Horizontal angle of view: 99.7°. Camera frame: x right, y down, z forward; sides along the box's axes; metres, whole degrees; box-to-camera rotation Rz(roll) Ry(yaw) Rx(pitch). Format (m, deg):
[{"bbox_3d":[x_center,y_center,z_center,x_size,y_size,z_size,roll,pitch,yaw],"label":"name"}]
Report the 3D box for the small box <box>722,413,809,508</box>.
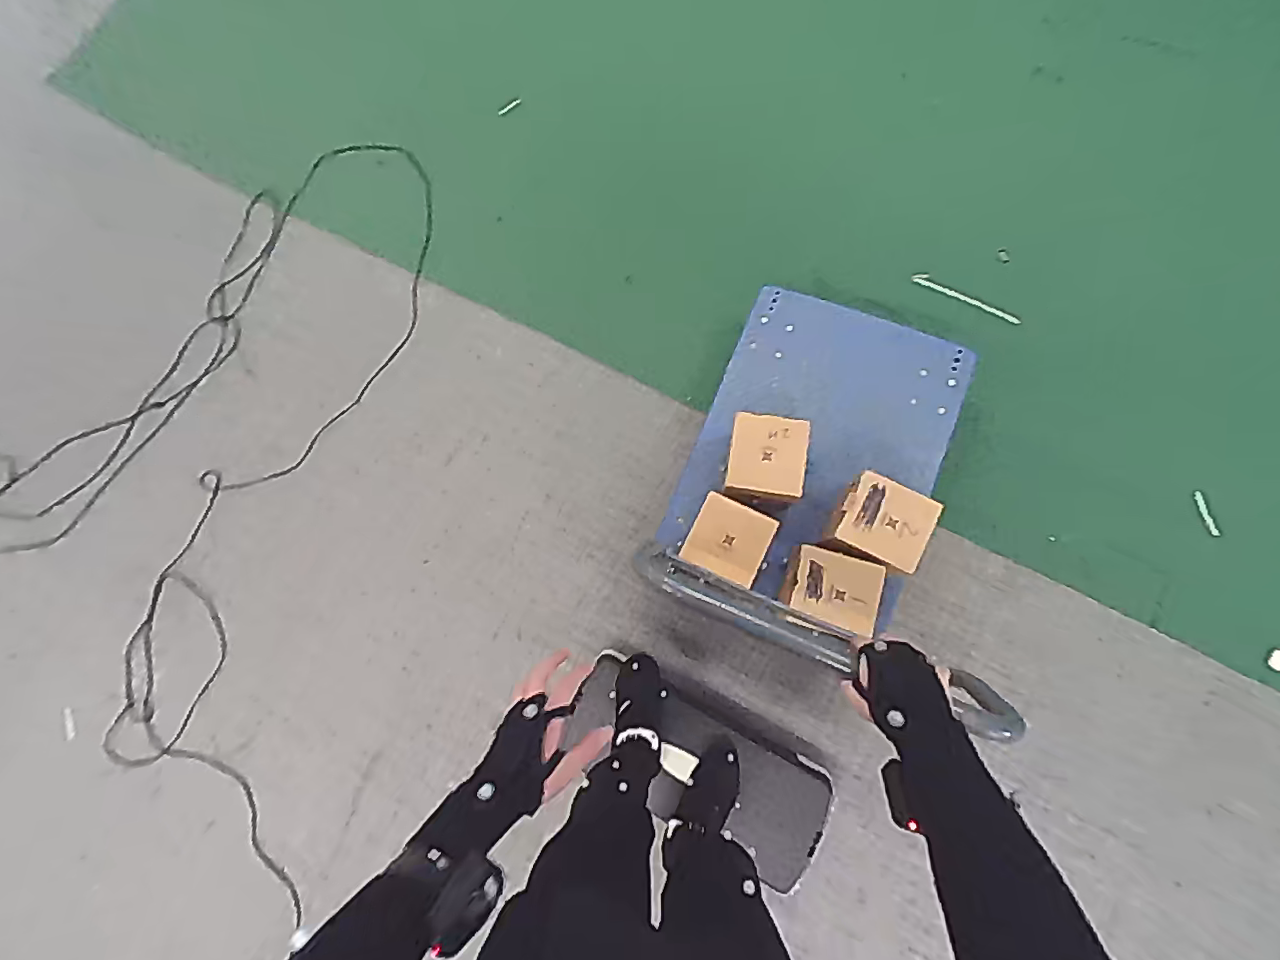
[{"bbox_3d":[0.287,-0.038,1.264,0.168,0.176,0.179,9,79,7],"label":"small box"}]
